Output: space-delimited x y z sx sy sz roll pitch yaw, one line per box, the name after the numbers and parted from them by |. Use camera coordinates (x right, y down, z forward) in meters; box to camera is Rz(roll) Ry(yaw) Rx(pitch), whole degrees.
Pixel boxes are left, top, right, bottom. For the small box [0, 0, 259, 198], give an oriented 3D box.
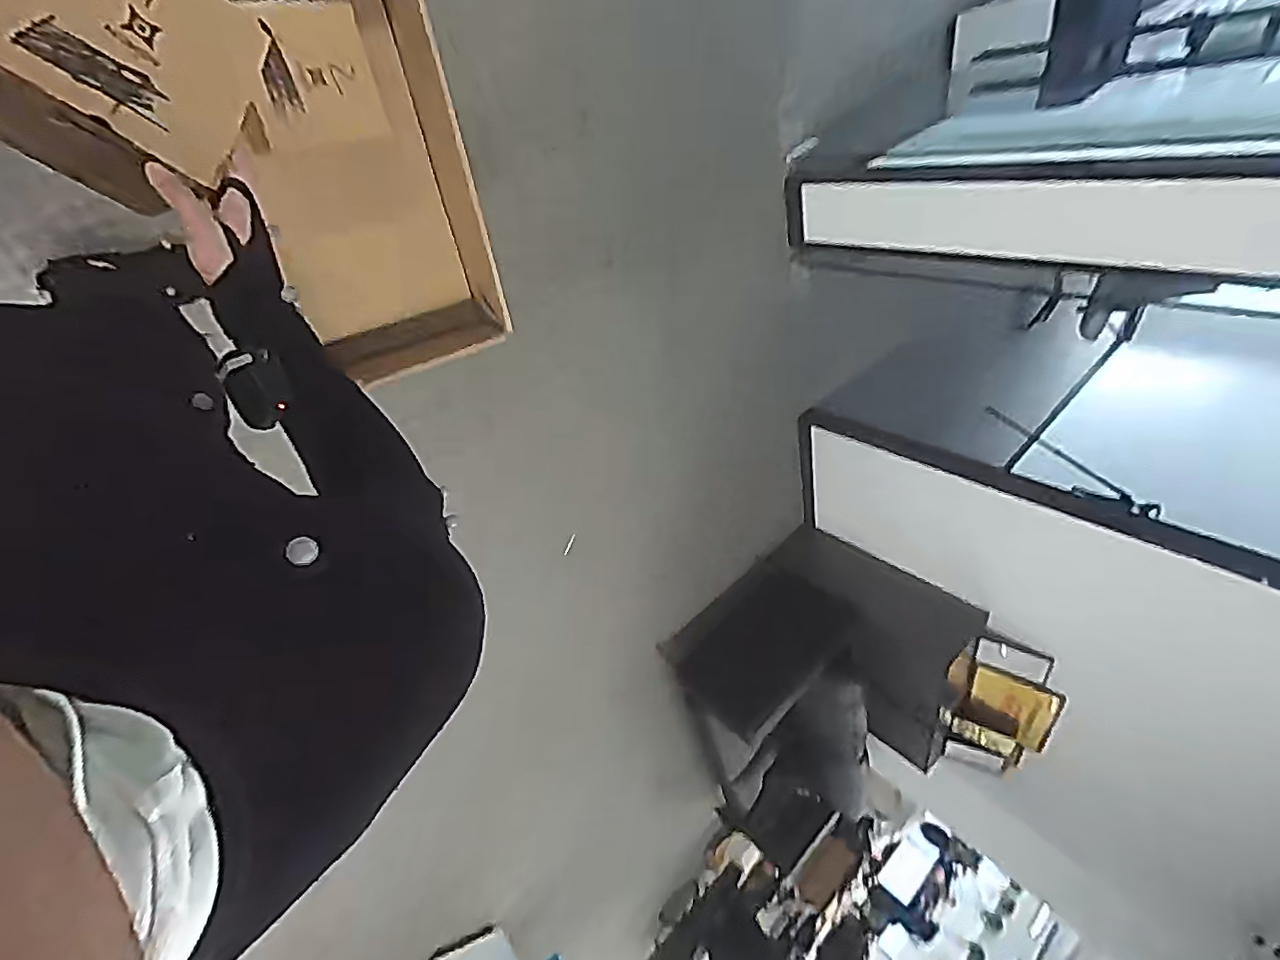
-0.490 -0.382 0.480 0.168 0.176 0.179 25 76 -59 | small box
